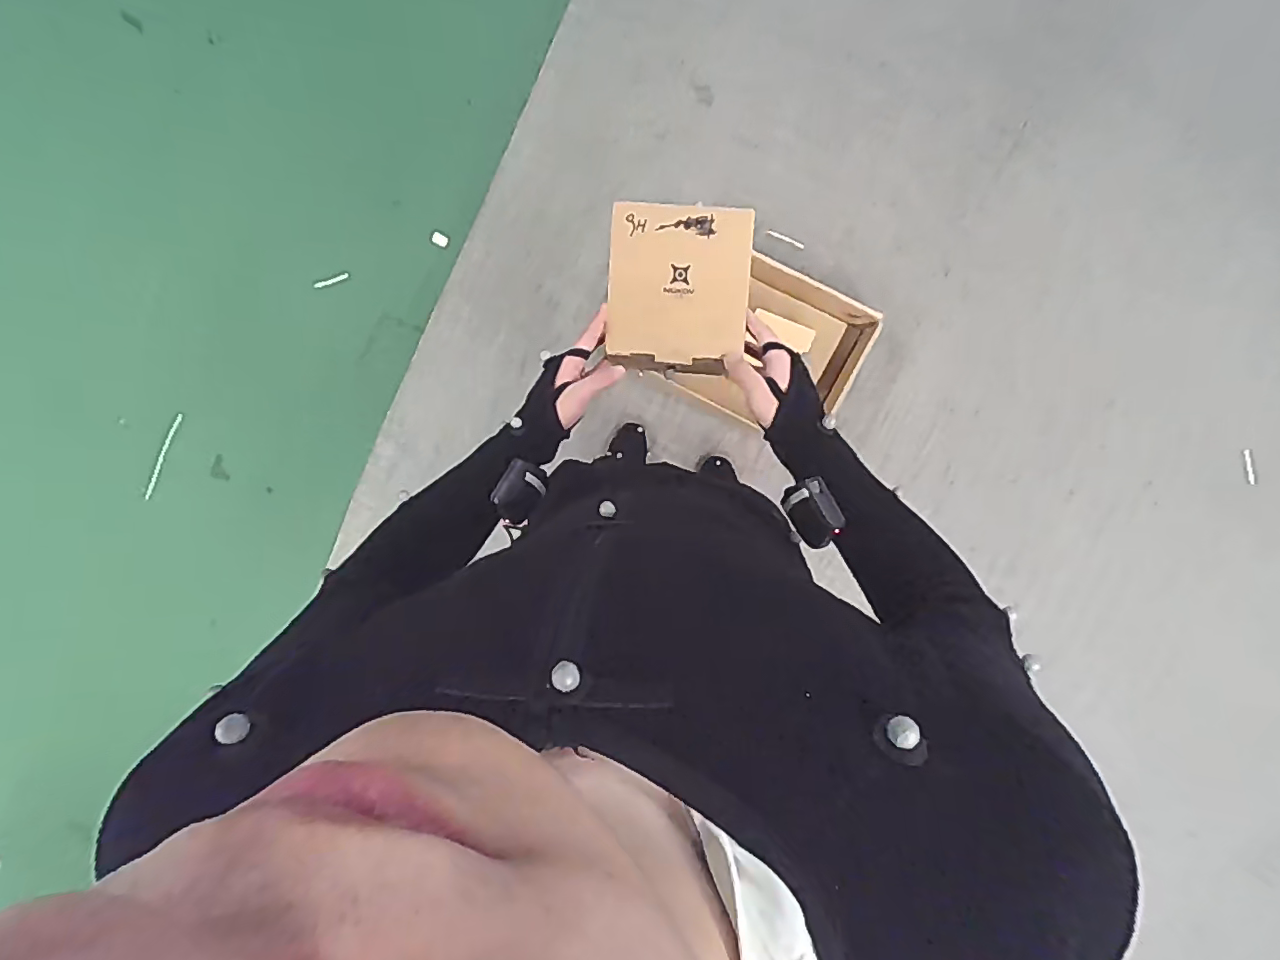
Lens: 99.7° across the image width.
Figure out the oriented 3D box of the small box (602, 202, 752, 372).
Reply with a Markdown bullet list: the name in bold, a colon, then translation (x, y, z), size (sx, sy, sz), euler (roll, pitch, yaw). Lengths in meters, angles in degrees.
- **small box**: translation (0.043, -0.237, 0.705), size (0.168, 0.176, 0.179), euler (3, 97, 0)
